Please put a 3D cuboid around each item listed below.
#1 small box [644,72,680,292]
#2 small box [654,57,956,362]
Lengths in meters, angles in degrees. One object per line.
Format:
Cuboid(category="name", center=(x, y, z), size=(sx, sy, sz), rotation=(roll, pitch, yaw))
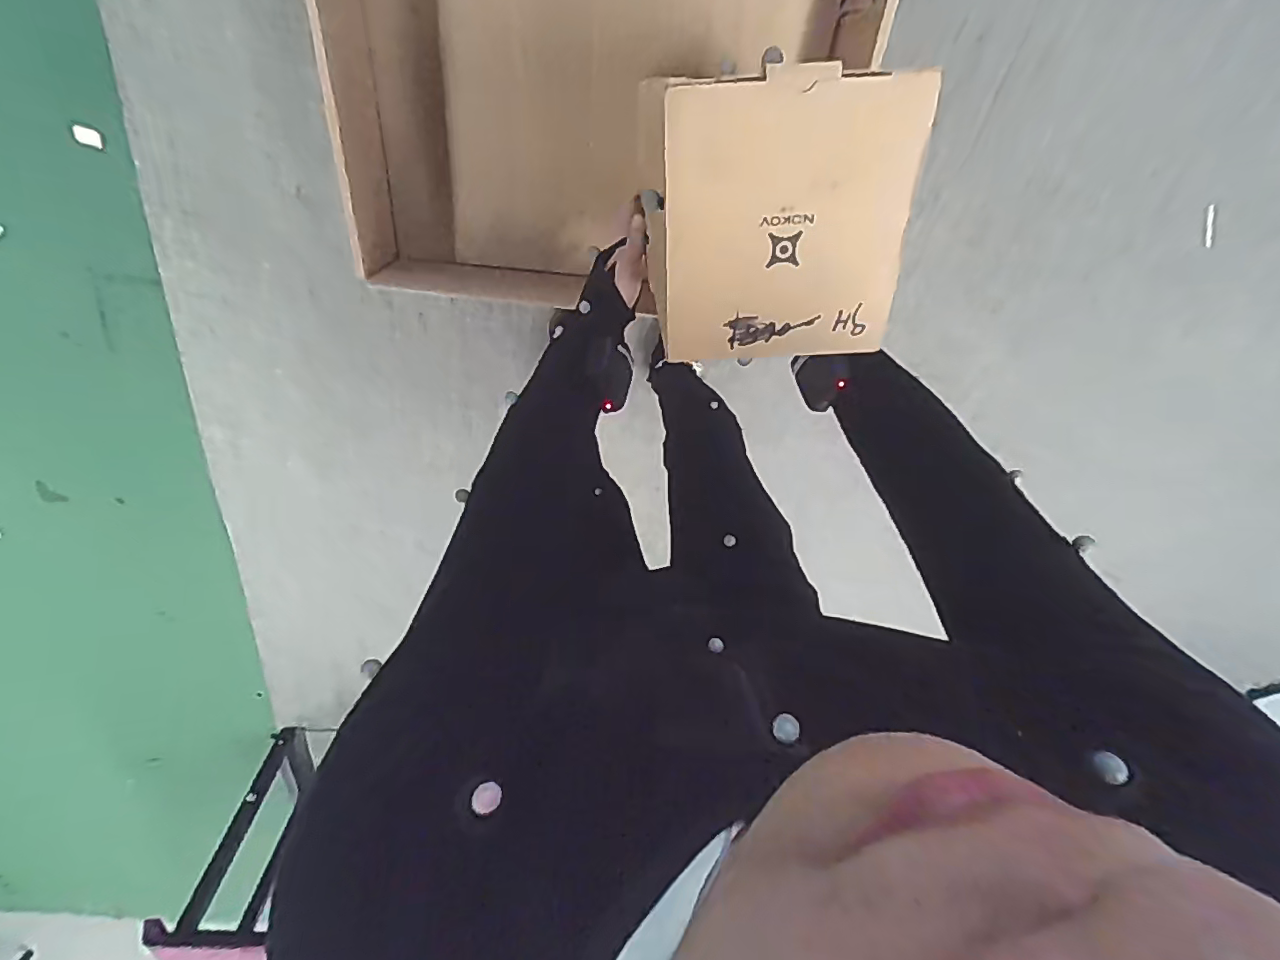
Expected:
Cuboid(category="small box", center=(0.091, -0.303, 0.549), size=(0.168, 0.176, 0.179), rotation=(-2, 125, -2))
Cuboid(category="small box", center=(0.098, -0.207, 0.417), size=(0.168, 0.176, 0.179), rotation=(-3, 125, -1))
